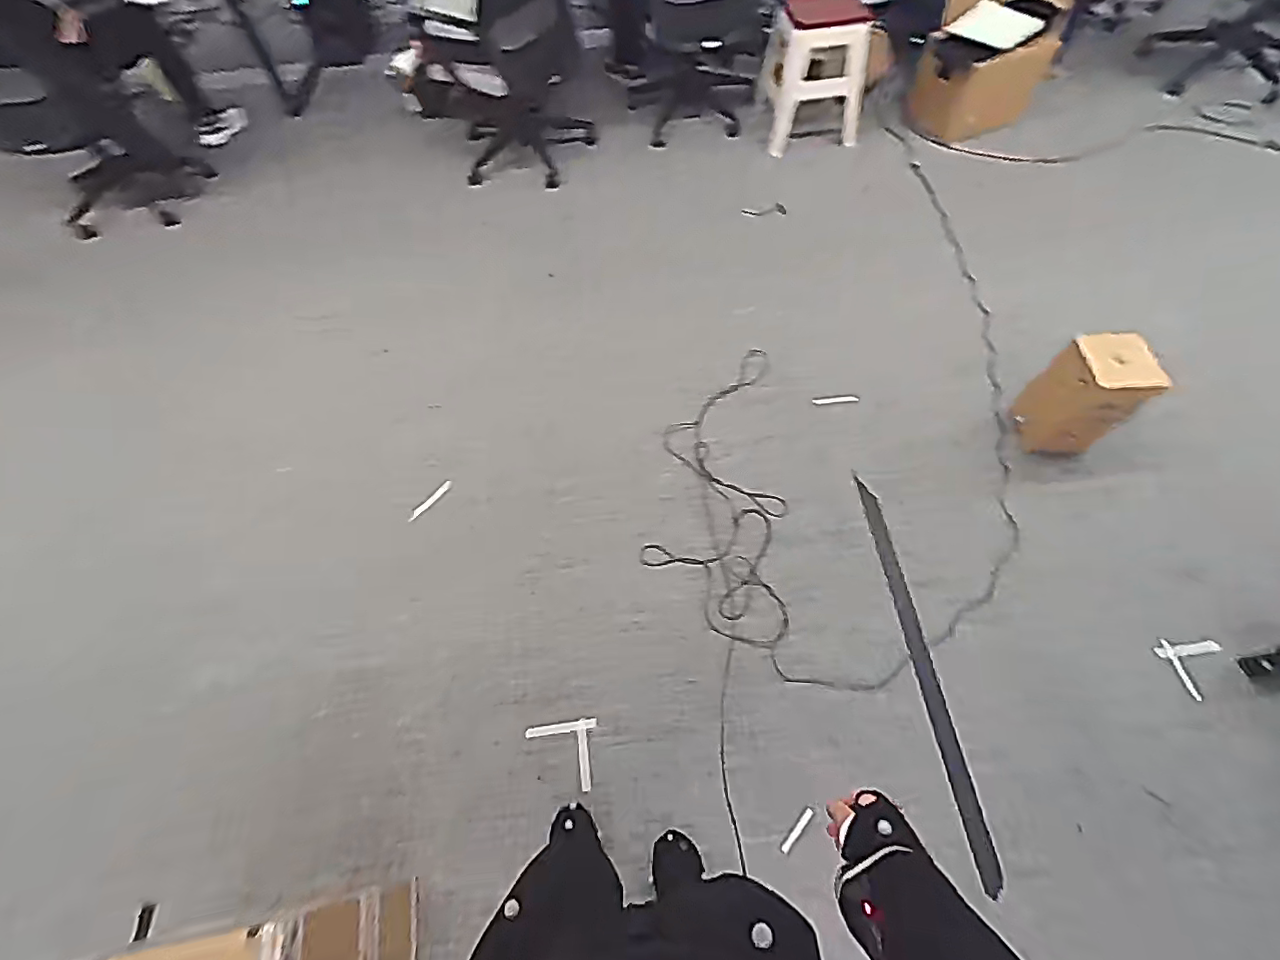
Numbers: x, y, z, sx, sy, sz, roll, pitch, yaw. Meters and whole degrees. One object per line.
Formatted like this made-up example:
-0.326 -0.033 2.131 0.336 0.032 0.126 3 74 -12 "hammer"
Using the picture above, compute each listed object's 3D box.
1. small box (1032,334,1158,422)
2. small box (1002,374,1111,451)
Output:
1.210 -0.268 1.454 0.168 0.176 0.179 -2 60 2 "small box"
1.224 -0.196 1.602 0.179 0.176 0.168 0 60 4 "small box"
